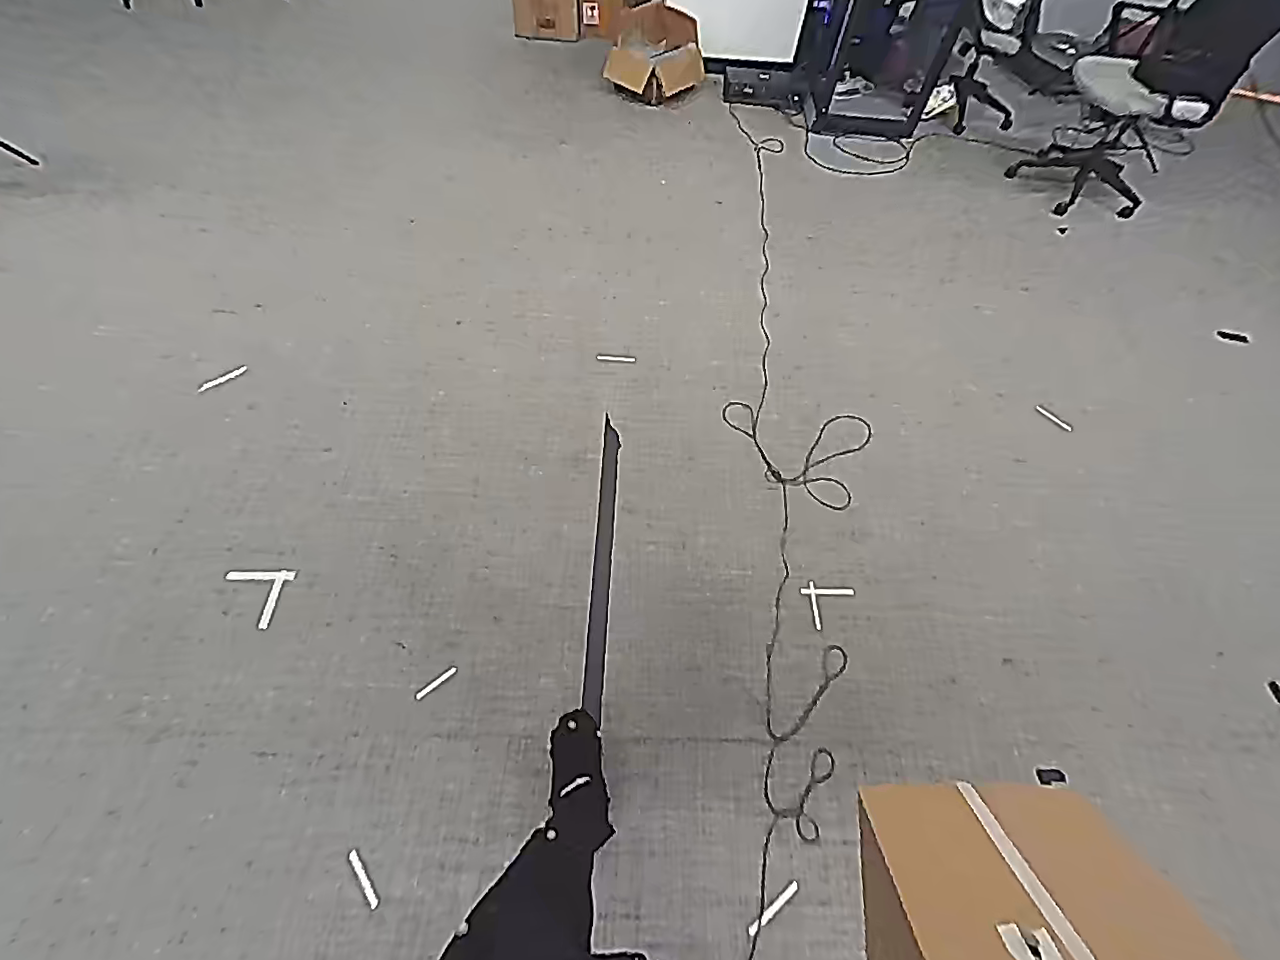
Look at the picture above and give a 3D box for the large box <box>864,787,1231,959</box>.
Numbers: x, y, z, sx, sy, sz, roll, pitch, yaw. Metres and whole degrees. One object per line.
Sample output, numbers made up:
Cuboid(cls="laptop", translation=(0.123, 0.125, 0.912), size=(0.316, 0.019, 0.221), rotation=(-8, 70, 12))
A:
Cuboid(cls="large box", translation=(0.484, 0.650, 0.650), size=(0.320, 0.408, 0.320), rotation=(-4, 97, 9))
